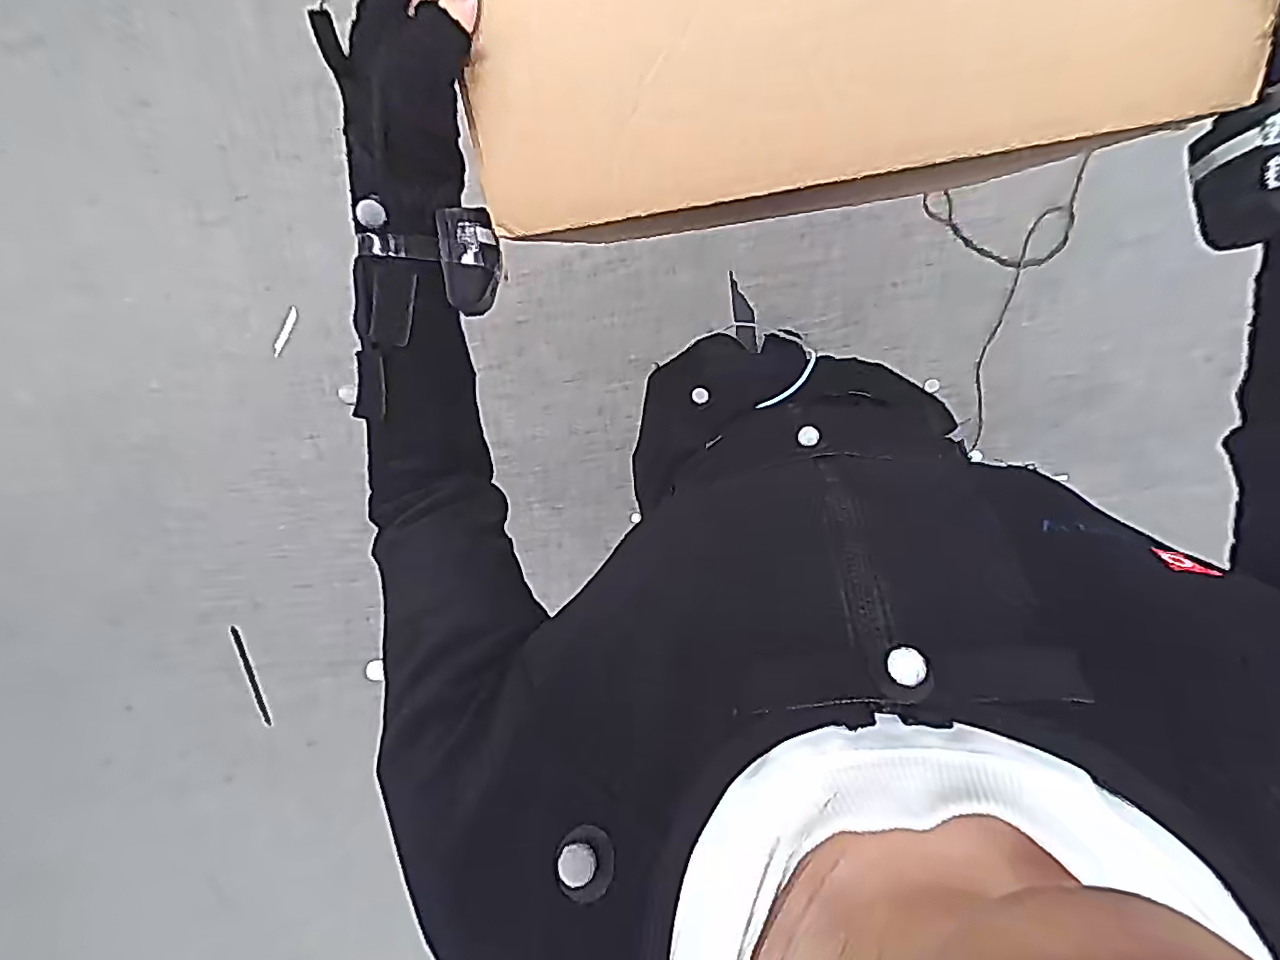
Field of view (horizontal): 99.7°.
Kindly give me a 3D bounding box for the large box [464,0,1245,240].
[{"bbox_3d":[0.106,-0.381,0.400,0.408,0.320,0.320,-5,112,11],"label":"large box"}]
